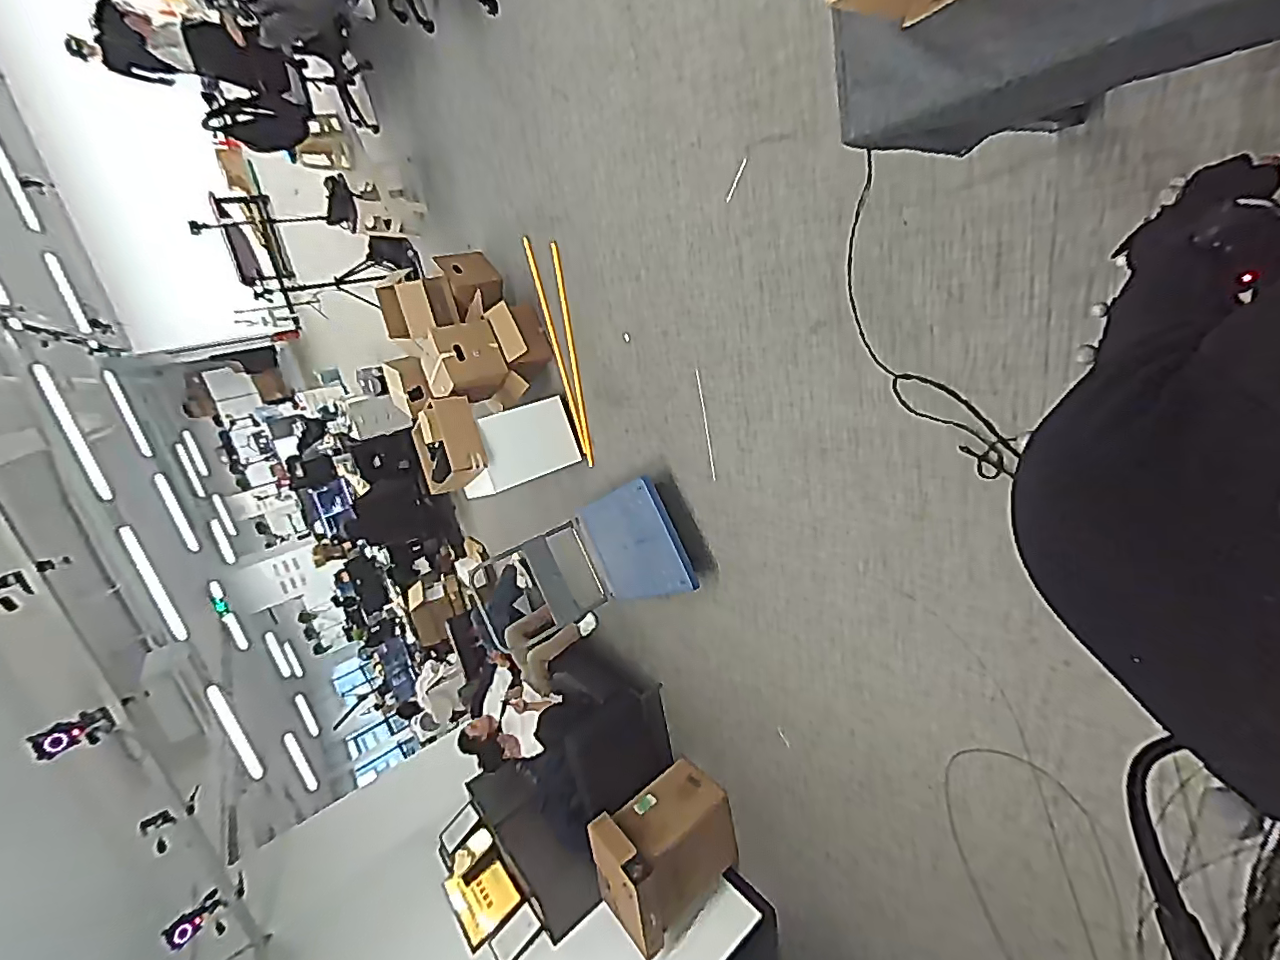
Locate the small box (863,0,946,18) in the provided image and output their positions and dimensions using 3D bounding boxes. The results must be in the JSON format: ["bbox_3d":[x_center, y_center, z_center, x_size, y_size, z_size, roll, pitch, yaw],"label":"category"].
[{"bbox_3d":[0.290,-0.600,0.525,0.168,0.176,0.179,10,118,52],"label":"small box"}]
